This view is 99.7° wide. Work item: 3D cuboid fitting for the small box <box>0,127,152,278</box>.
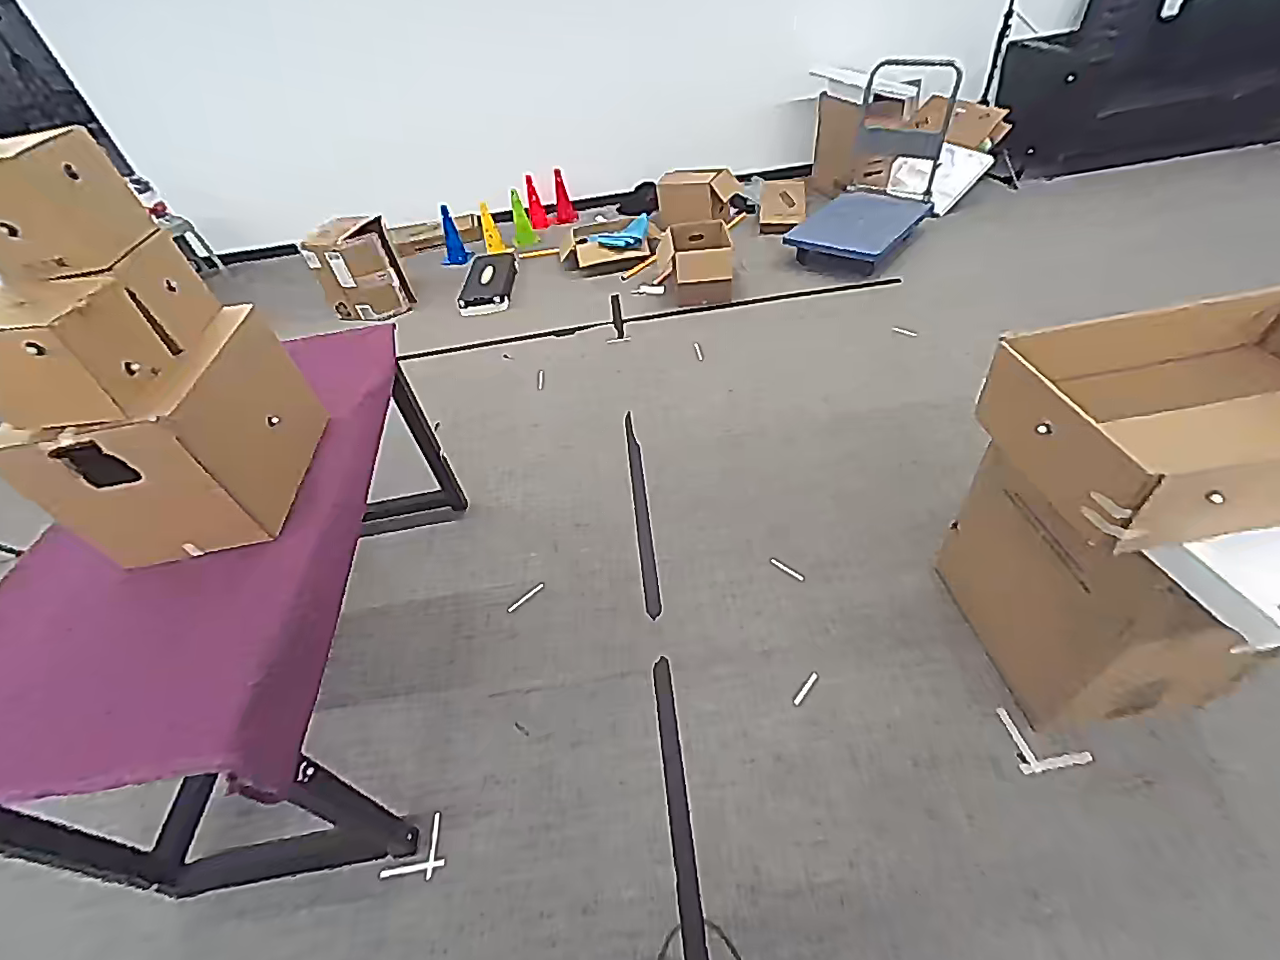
[{"bbox_3d":[-0.965,-0.444,0.881,0.168,0.176,0.179,-10,46,0],"label":"small box"}]
